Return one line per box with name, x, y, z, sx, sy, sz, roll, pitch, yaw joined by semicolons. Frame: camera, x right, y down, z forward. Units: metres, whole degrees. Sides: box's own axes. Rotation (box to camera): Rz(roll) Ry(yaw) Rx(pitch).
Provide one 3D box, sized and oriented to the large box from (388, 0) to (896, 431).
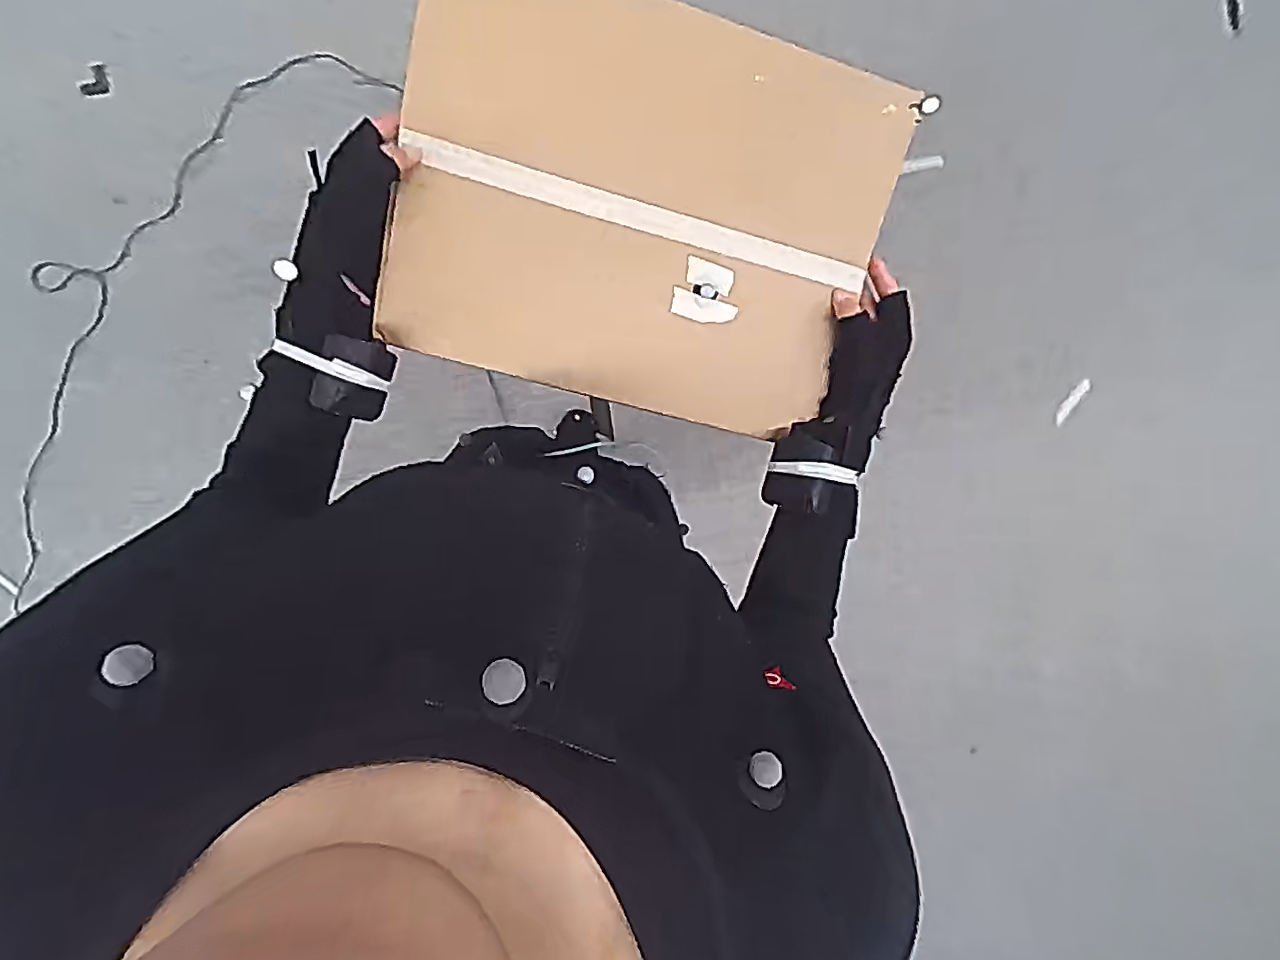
large box;-0.017;-0.263;0.614;0.408;0.320;0.320;11;104;-9
